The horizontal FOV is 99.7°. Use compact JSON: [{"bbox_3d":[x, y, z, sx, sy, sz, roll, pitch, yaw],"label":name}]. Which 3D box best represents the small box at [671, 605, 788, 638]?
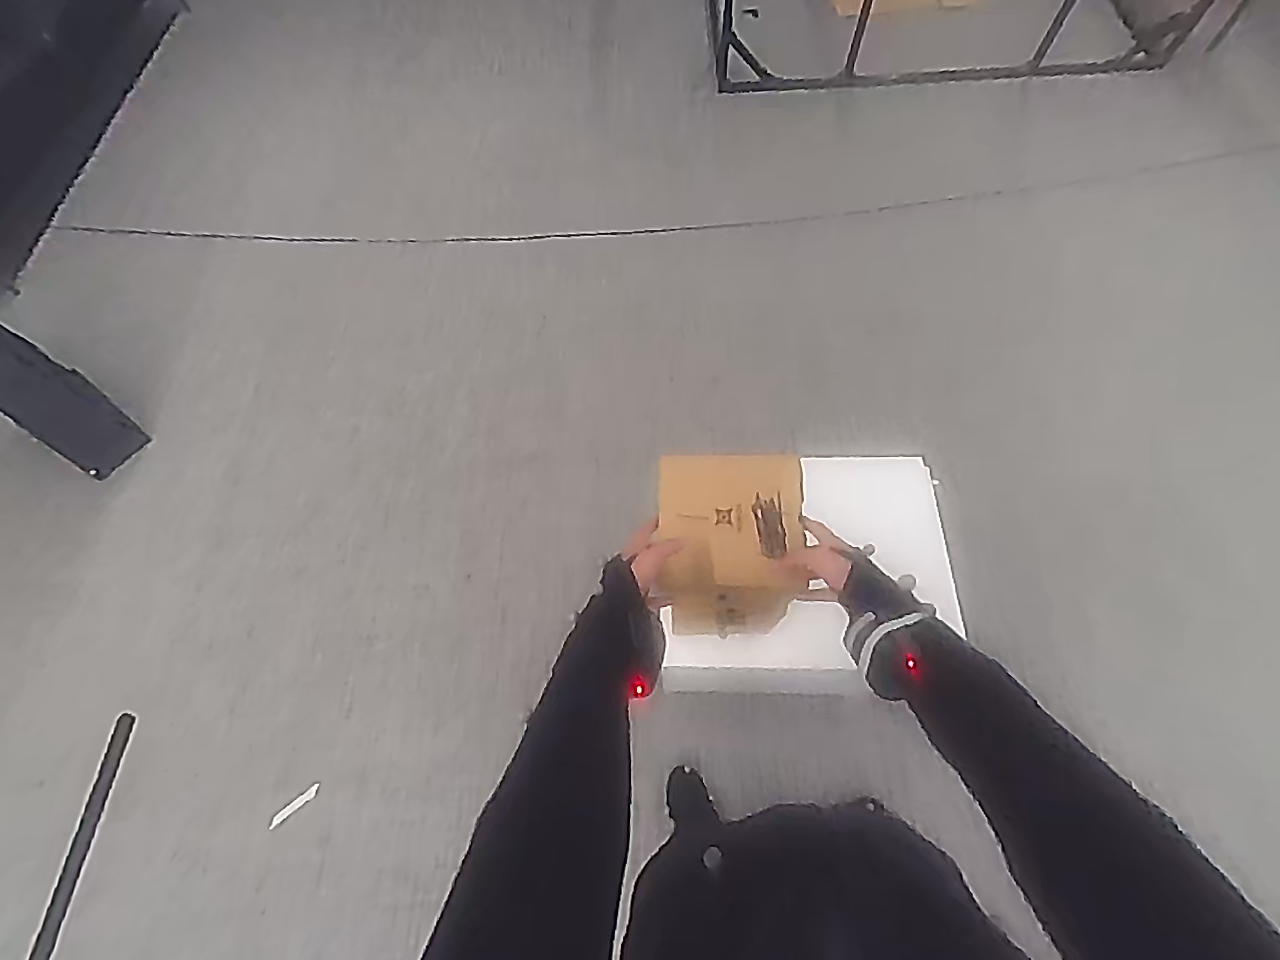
[{"bbox_3d":[0.132,0.151,0.872,0.168,0.176,0.179,-2,65,3],"label":"small box"}]

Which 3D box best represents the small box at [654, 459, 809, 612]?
[{"bbox_3d":[0.112,0.079,0.710,0.179,0.176,0.168,-1,69,7],"label":"small box"}]
